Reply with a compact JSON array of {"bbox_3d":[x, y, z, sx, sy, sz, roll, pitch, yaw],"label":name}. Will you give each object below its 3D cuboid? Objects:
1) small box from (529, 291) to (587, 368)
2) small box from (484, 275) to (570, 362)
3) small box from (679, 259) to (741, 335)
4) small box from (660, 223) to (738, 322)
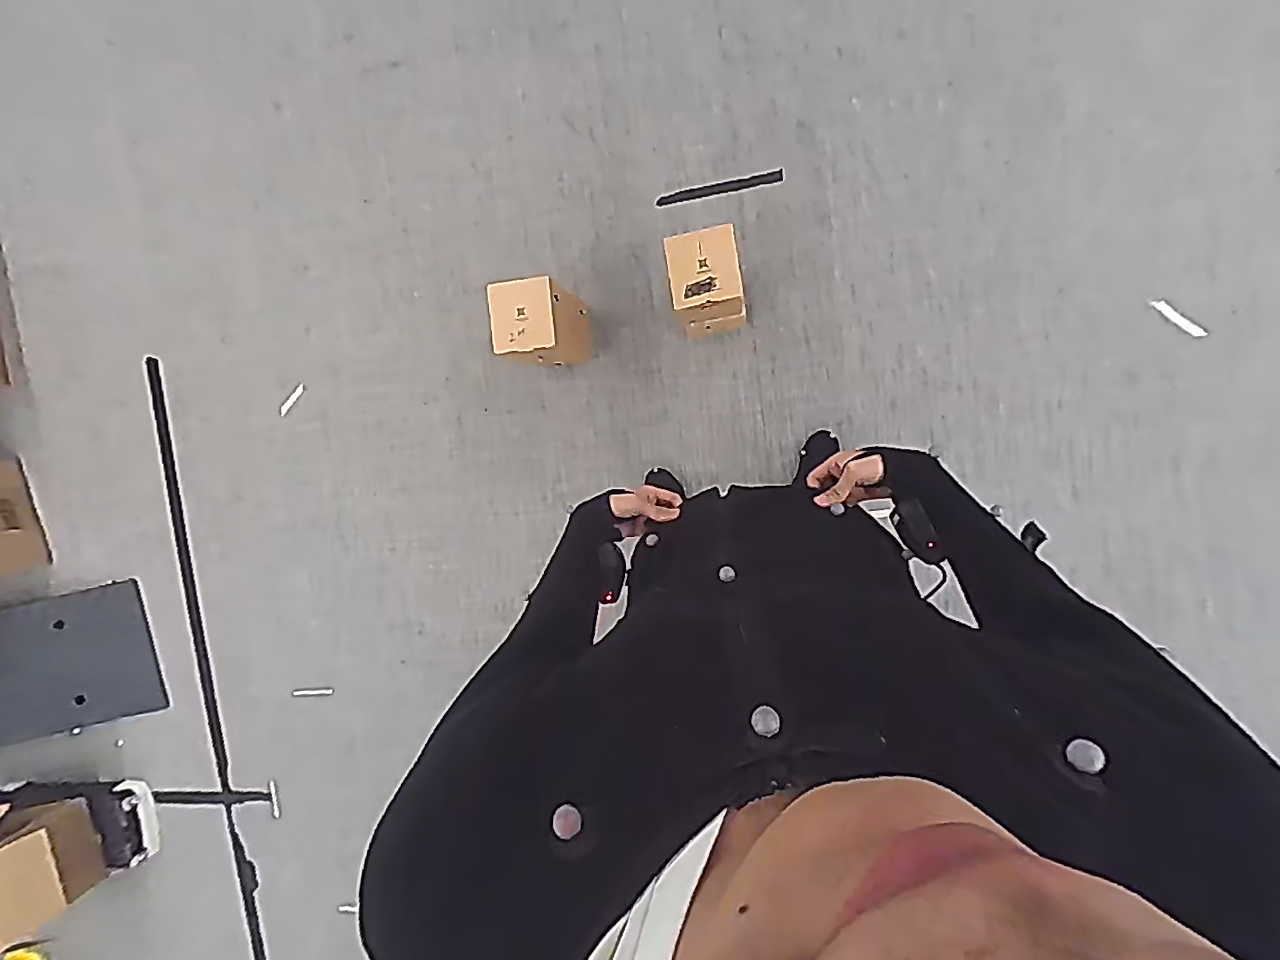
[{"bbox_3d":[-0.258,-0.432,1.571,0.168,0.176,0.179,-4,93,10],"label":"small box"},{"bbox_3d":[-0.290,-0.414,1.411,0.168,0.176,0.179,-4,94,10],"label":"small box"},{"bbox_3d":[0.187,-0.508,1.499,0.168,0.176,0.179,-9,92,9],"label":"small box"},{"bbox_3d":[0.150,-0.501,1.339,0.168,0.176,0.179,-9,91,9],"label":"small box"}]
